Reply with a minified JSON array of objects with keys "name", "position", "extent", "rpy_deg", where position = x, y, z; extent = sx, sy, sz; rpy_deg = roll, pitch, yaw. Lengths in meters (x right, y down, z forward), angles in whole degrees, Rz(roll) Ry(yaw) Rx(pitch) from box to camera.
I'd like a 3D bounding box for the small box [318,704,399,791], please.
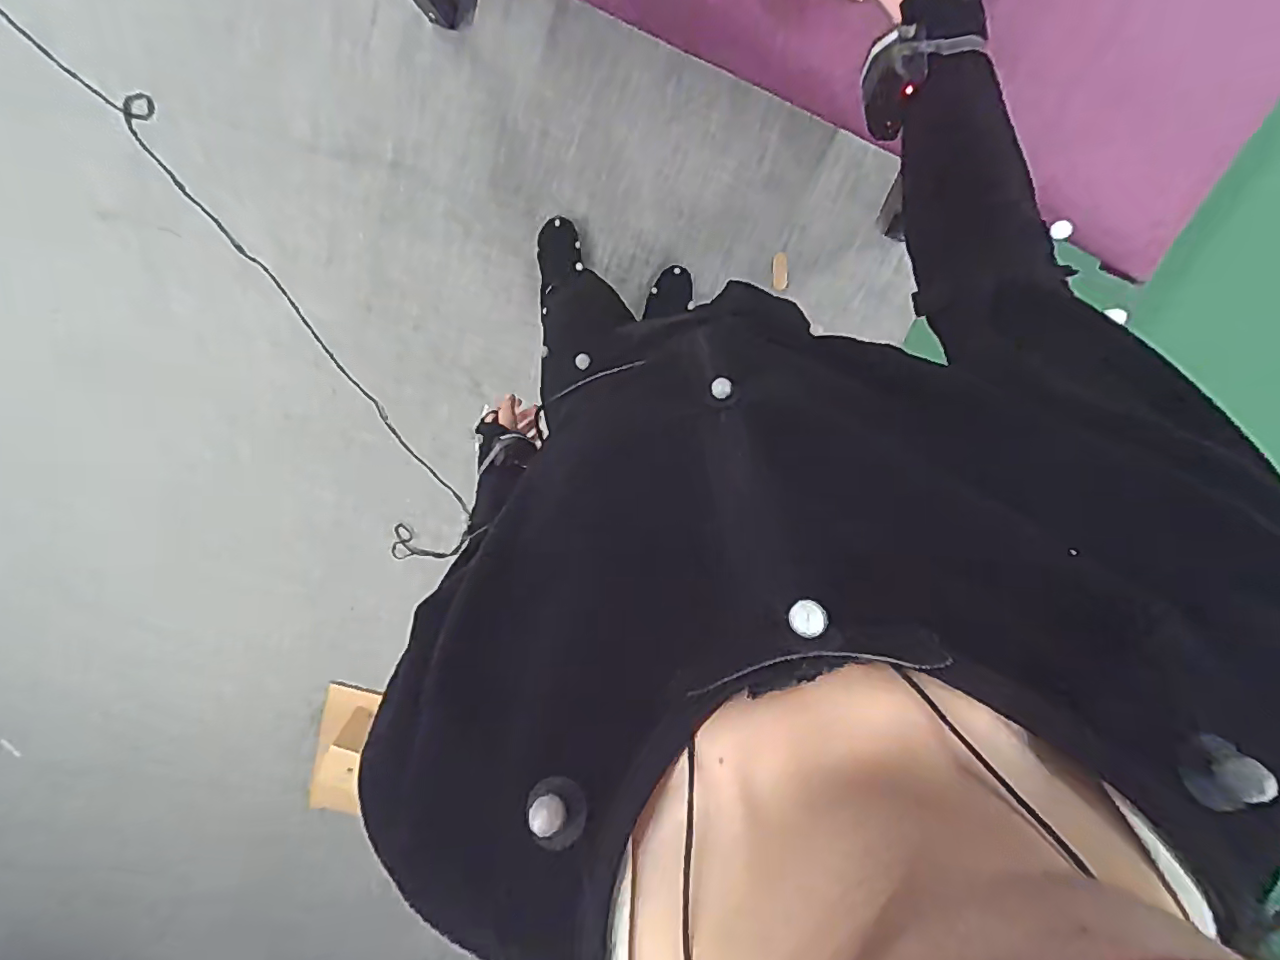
[{"name":"small box","position":[-0.929,0.885,1.802],"extent":[0.168,0.176,0.179],"rpy_deg":[25,110,-10]}]
